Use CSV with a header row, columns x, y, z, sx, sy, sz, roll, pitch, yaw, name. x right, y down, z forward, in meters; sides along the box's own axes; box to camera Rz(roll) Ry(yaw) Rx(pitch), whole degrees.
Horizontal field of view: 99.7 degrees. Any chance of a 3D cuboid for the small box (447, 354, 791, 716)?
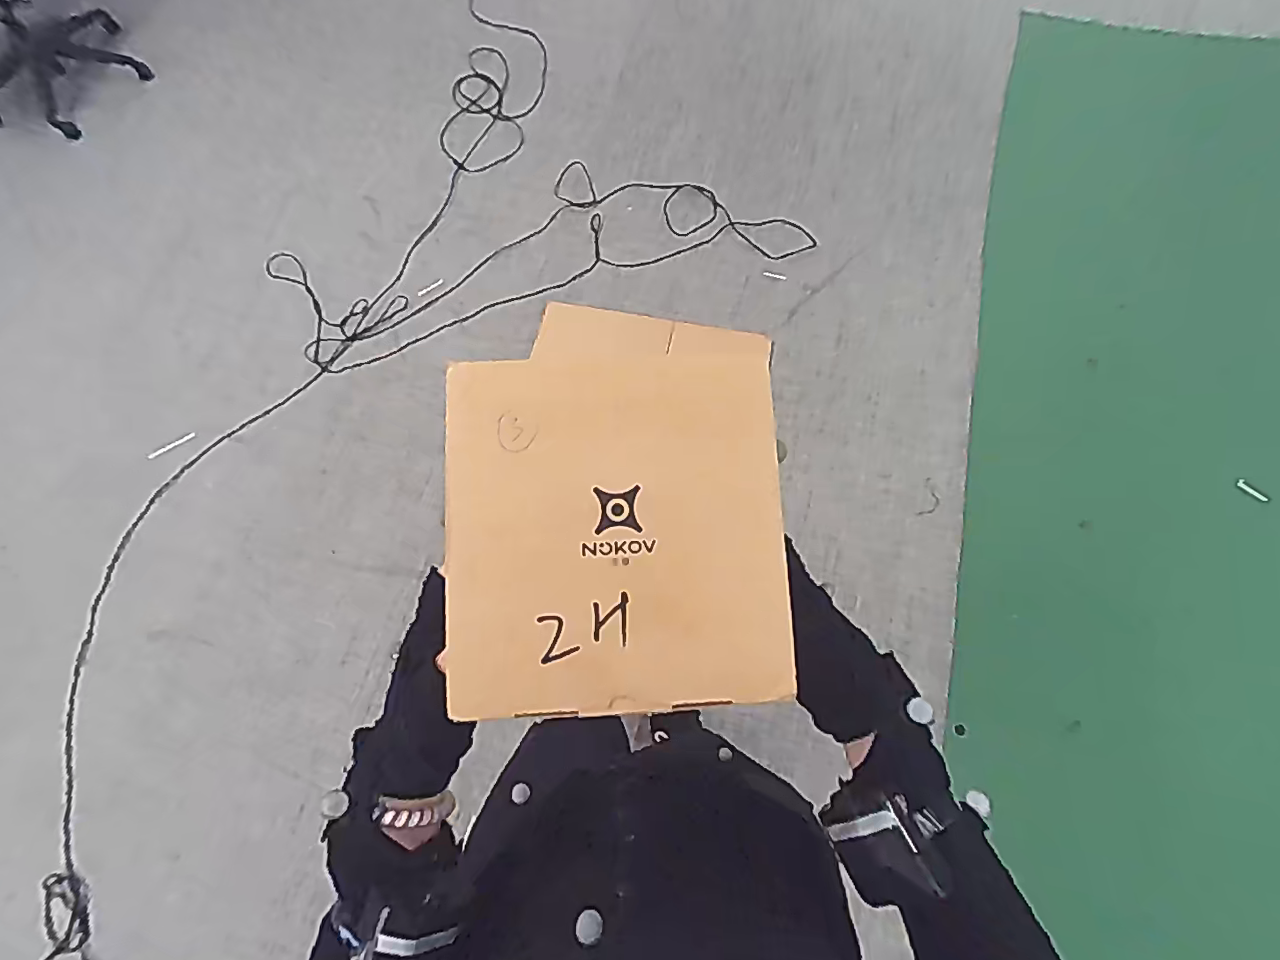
x,y,z,sx,sy,sz,roll,pitch,yaw,name
-0.015,0.033,0.346,0.168,0.176,0.179,-3,83,-2,small box
